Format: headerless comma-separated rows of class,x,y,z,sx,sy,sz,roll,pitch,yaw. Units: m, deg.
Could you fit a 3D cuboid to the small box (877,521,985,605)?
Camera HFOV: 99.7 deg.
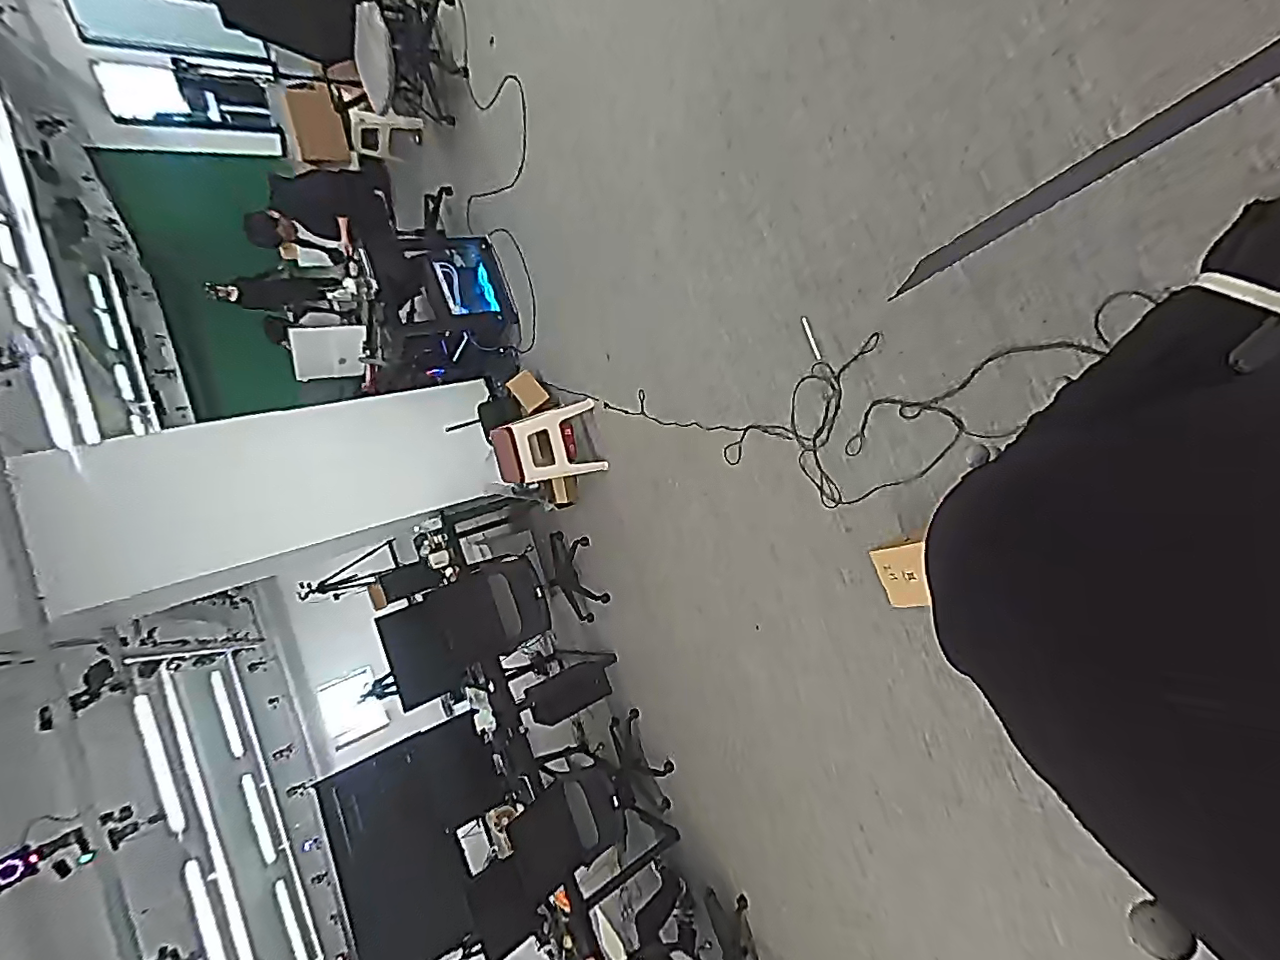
small box,0.778,0.220,1.436,0.179,0.176,0.168,-30,80,58
